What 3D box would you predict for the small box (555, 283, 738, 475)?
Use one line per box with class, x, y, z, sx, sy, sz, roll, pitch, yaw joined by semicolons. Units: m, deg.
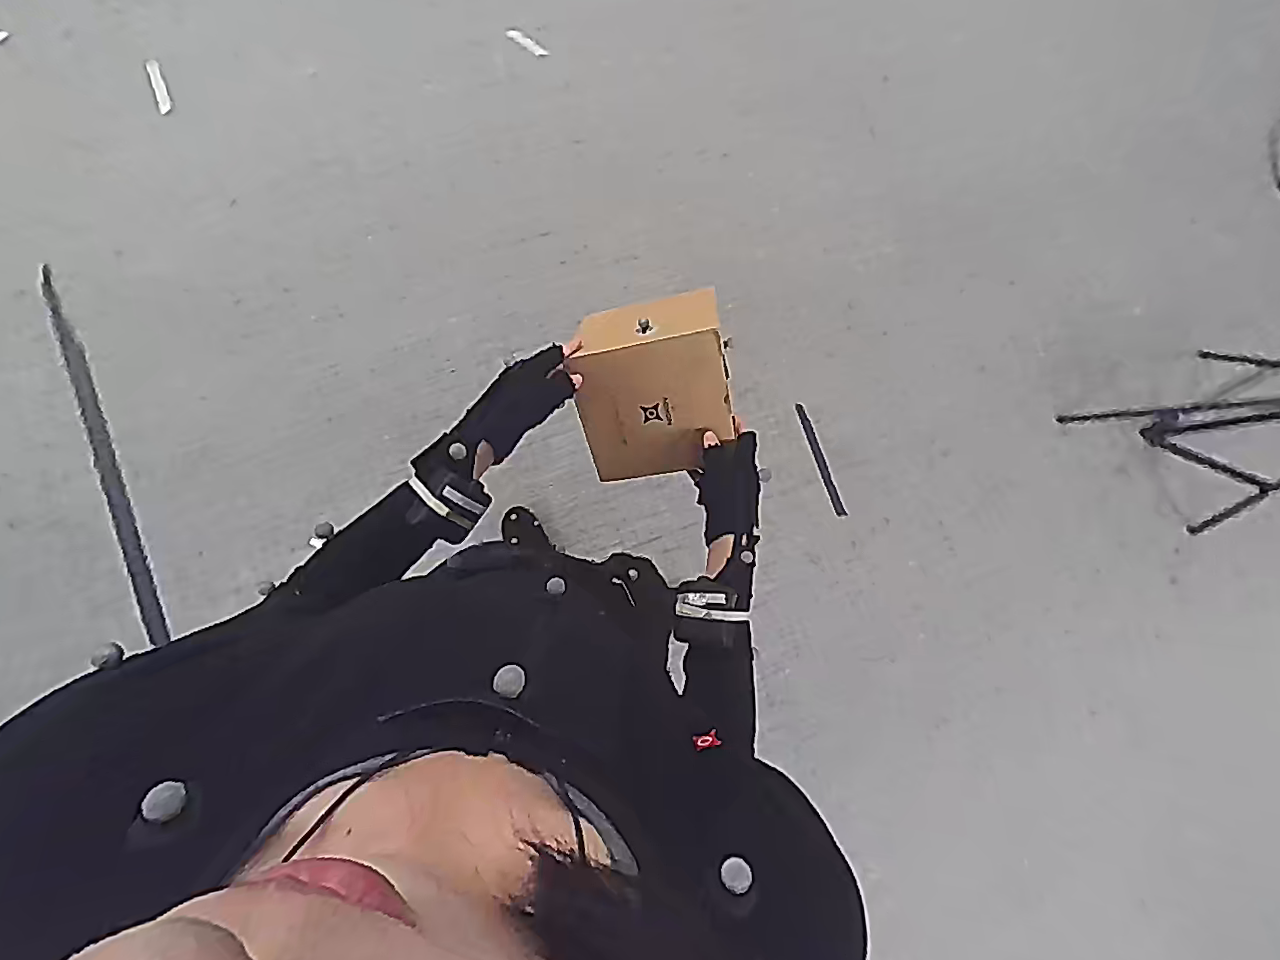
small box;0.016;-0.130;0.667;0.179;0.176;0.168;-10;120;12
